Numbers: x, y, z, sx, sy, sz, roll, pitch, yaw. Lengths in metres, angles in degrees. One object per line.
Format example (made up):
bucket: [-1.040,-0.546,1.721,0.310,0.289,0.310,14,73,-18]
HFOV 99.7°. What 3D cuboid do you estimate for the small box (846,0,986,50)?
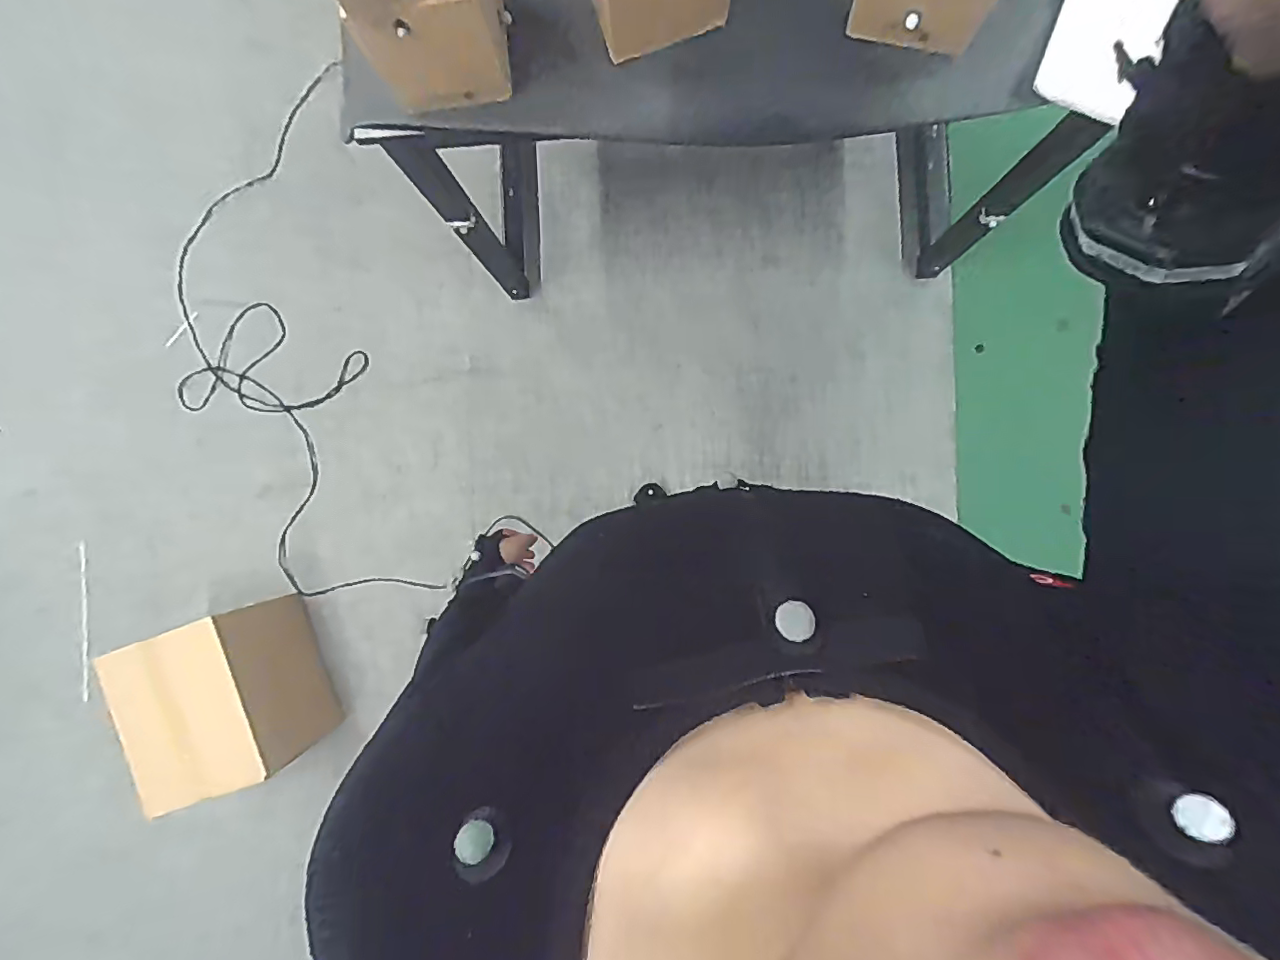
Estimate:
small box: [0.380,-0.707,0.684,0.168,0.176,0.179,14,90,5]

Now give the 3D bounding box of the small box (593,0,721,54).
small box: [0.009,-0.719,0.712,0.179,0.176,0.168,-18,88,3]

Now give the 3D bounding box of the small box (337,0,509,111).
small box: [-0.285,-0.647,0.729,0.168,0.176,0.179,-7,88,3]
